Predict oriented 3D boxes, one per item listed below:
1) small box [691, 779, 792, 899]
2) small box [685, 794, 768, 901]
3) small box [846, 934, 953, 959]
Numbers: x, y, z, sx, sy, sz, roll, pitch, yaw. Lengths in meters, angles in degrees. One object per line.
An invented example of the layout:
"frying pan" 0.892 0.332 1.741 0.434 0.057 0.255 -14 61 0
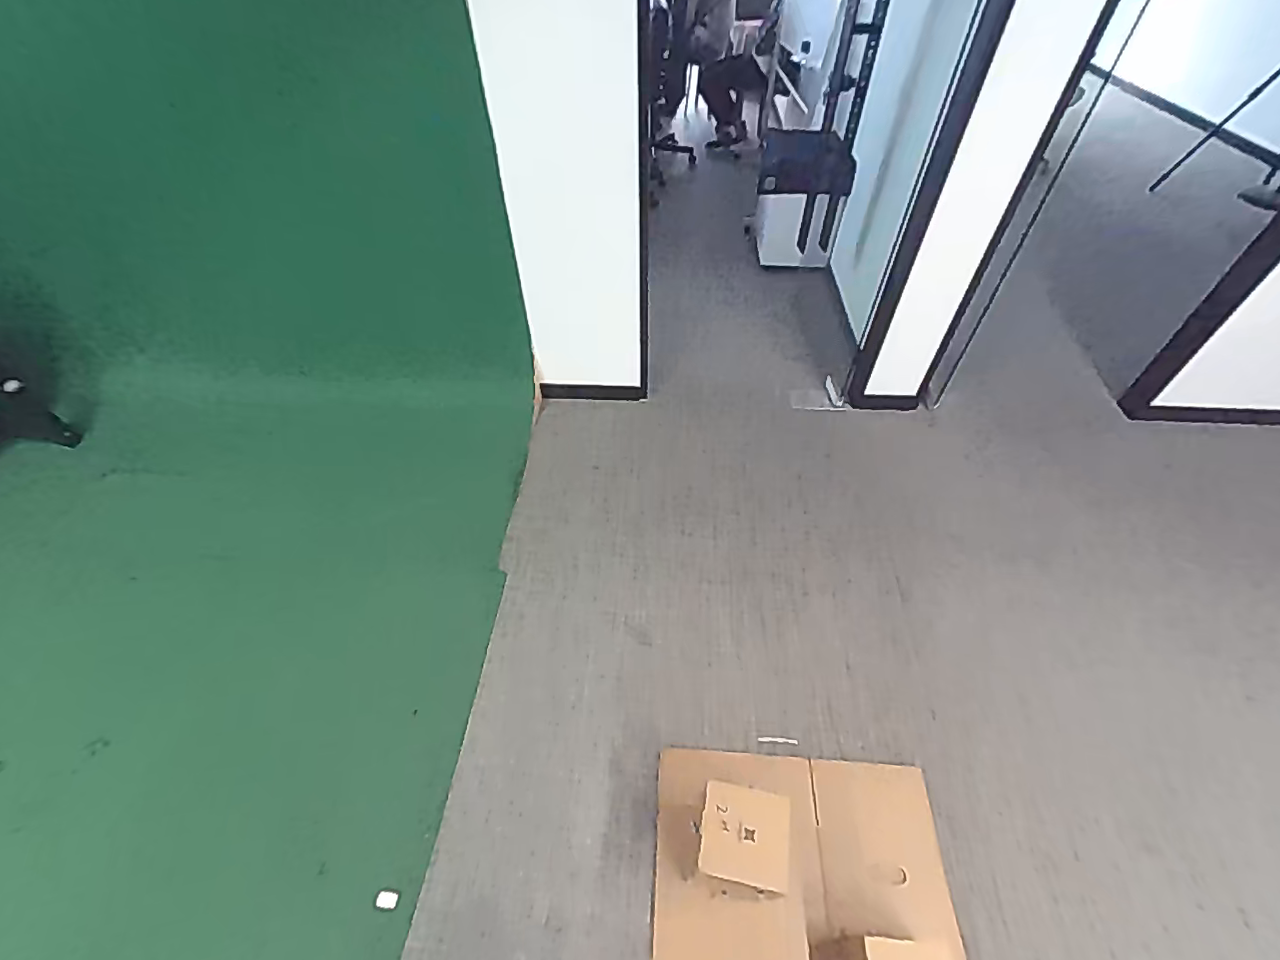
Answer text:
"small box" 0.209 0.753 1.129 0.179 0.176 0.168 9 49 8
"small box" 0.208 0.857 1.258 0.179 0.176 0.168 10 49 8
"small box" 0.530 1.042 1.096 0.179 0.176 0.168 4 49 4
